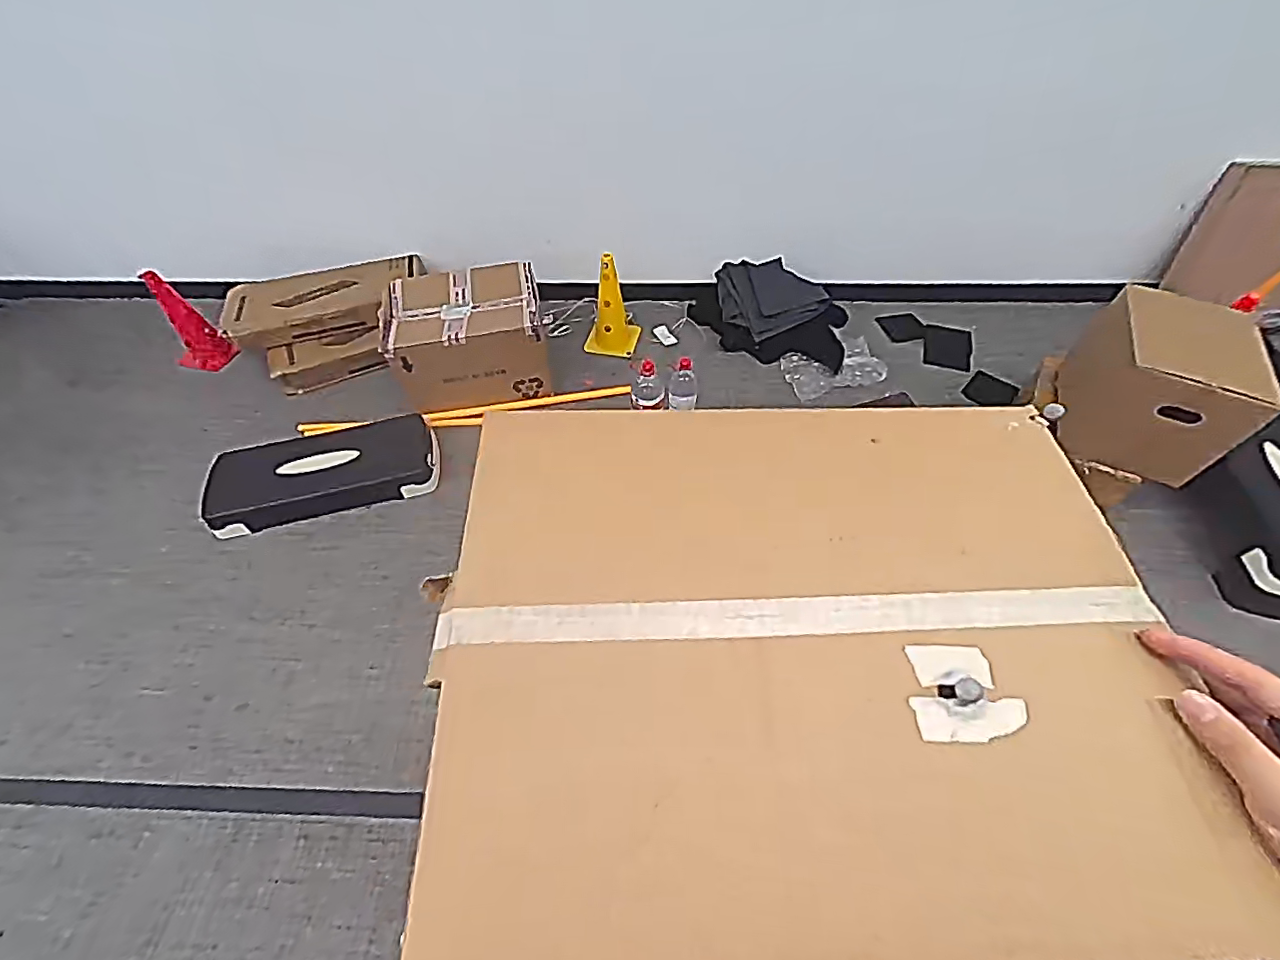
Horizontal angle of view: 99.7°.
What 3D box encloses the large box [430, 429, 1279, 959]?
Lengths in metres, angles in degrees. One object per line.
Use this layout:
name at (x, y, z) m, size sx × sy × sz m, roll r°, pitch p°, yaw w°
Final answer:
large box at (0.091, 0.174, 0.440) m, size 0.408 × 0.320 × 0.320 m, roll -1°, pitch 57°, yaw -4°
